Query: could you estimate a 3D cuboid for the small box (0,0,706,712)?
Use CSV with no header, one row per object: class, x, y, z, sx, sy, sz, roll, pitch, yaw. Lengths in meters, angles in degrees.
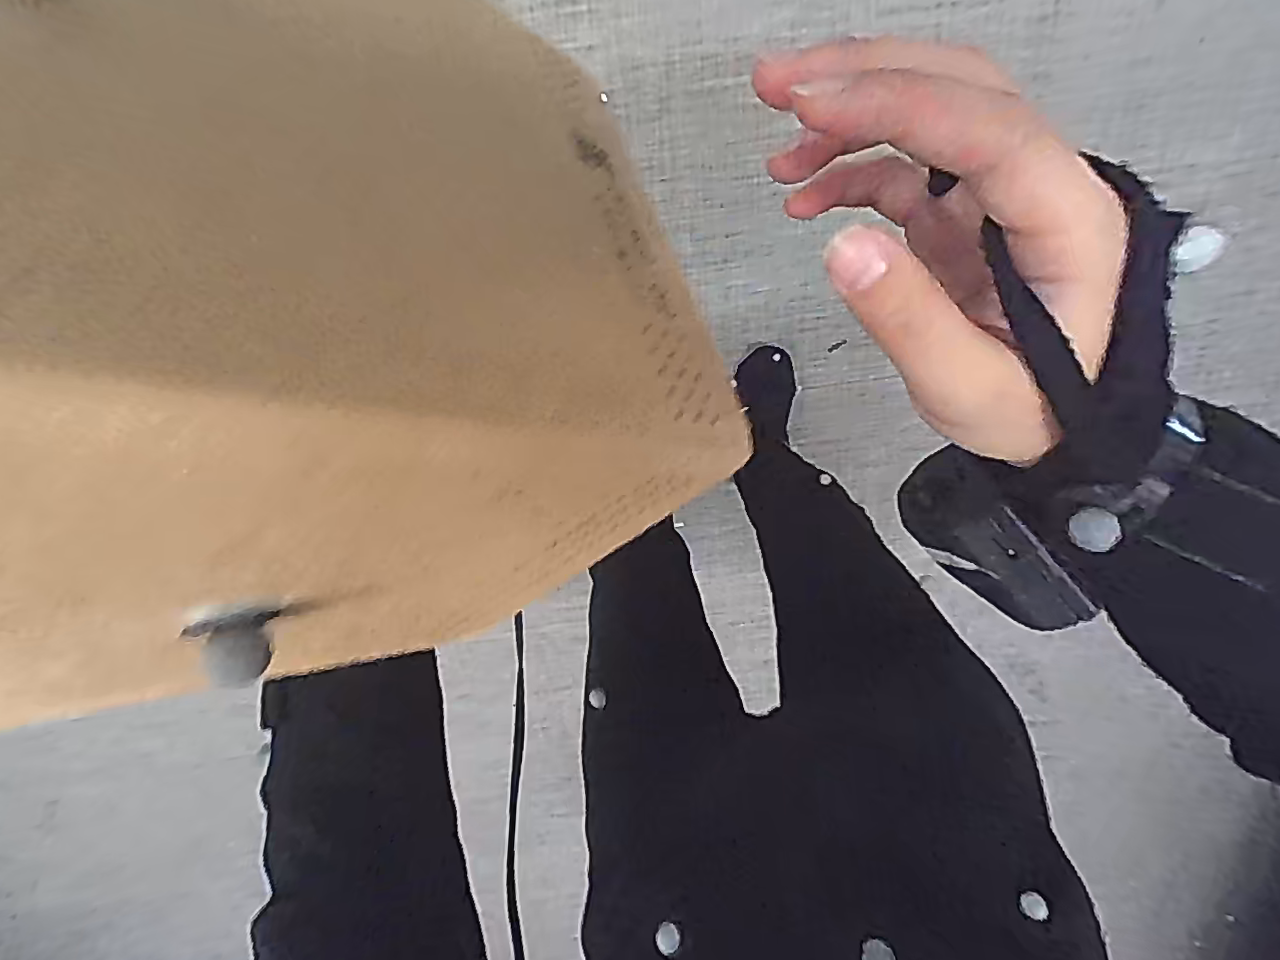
small box,-0.110,-0.037,0.182,0.176,0.168,0.179,1,151,-43
